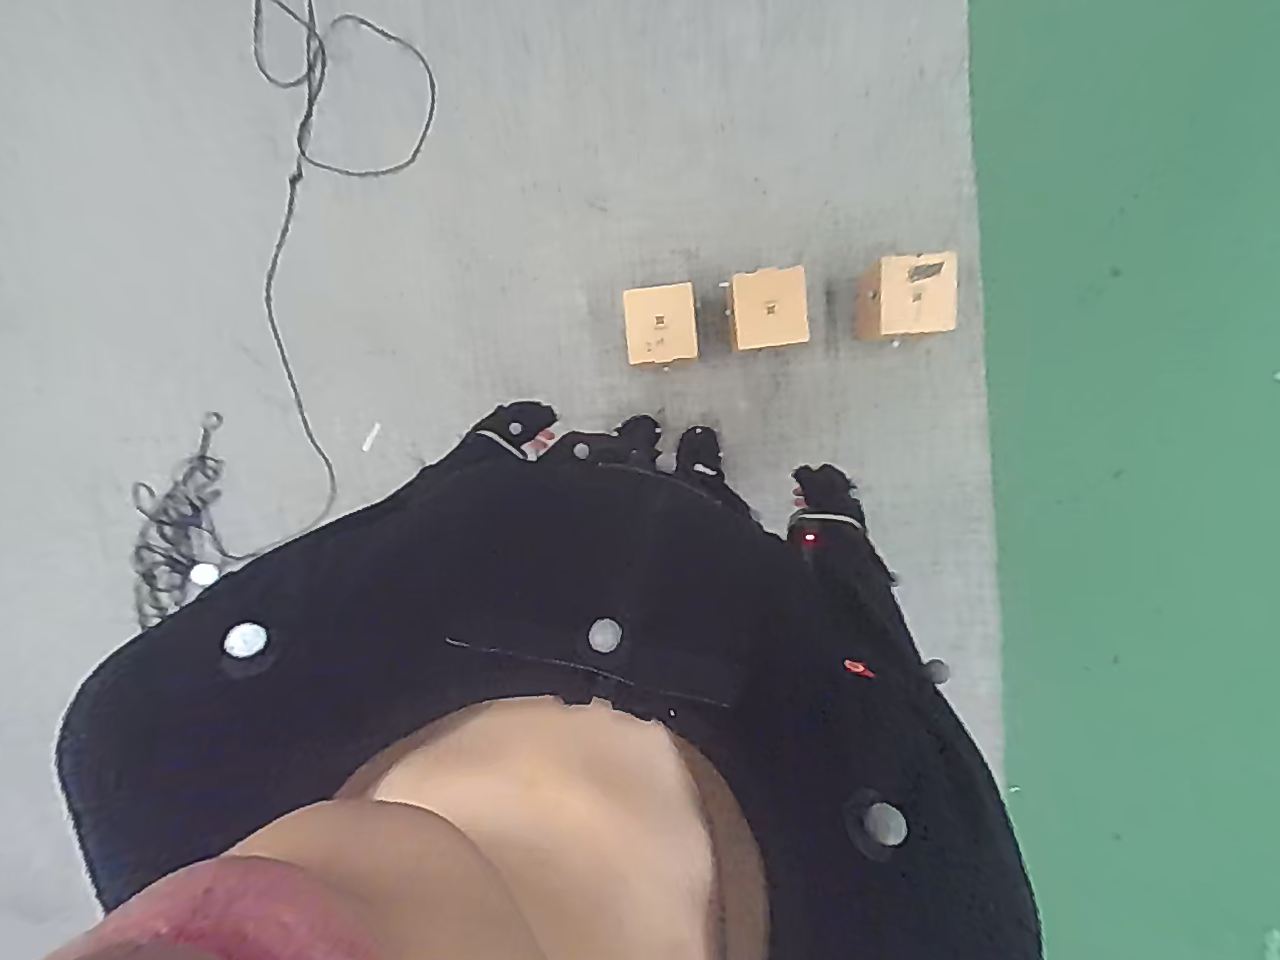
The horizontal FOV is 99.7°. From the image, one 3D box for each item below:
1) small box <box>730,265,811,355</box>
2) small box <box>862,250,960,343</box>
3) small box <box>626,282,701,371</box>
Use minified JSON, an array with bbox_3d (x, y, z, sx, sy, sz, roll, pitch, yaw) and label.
[{"bbox_3d":[0.313,-0.406,1.325,0.168,0.176,0.179,-6,95,6],"label":"small box"},{"bbox_3d":[0.637,-0.430,1.290,0.168,0.176,0.179,-2,97,6],"label":"small box"},{"bbox_3d":[0.061,-0.376,1.349,0.168,0.176,0.179,-5,96,7],"label":"small box"}]
